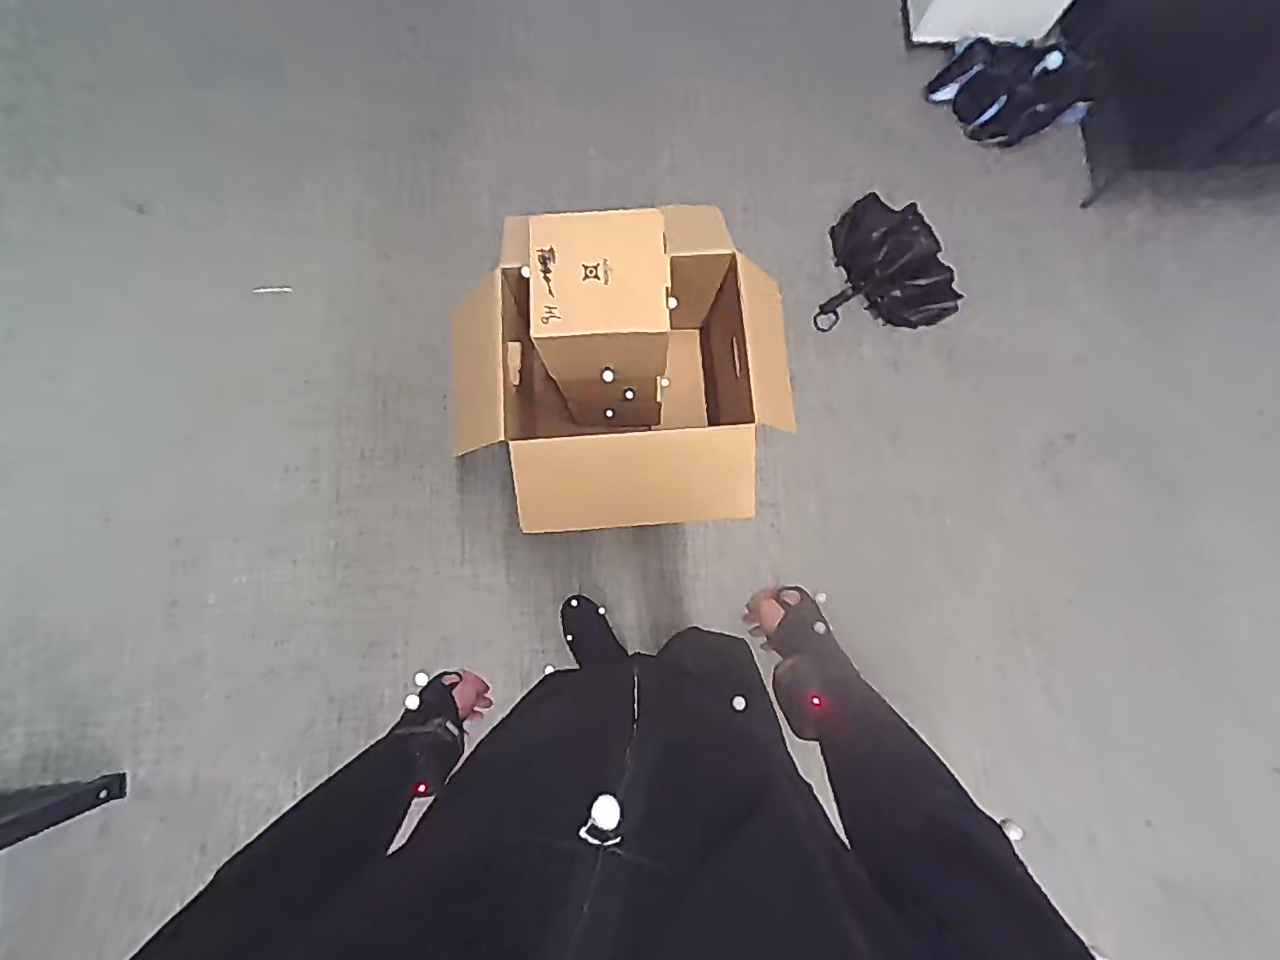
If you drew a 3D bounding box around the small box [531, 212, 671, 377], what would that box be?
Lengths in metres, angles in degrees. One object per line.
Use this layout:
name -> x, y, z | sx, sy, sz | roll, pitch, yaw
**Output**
small box -> -0.052, -0.249, 0.759 | 0.179, 0.176, 0.168 | -2, 82, 0
